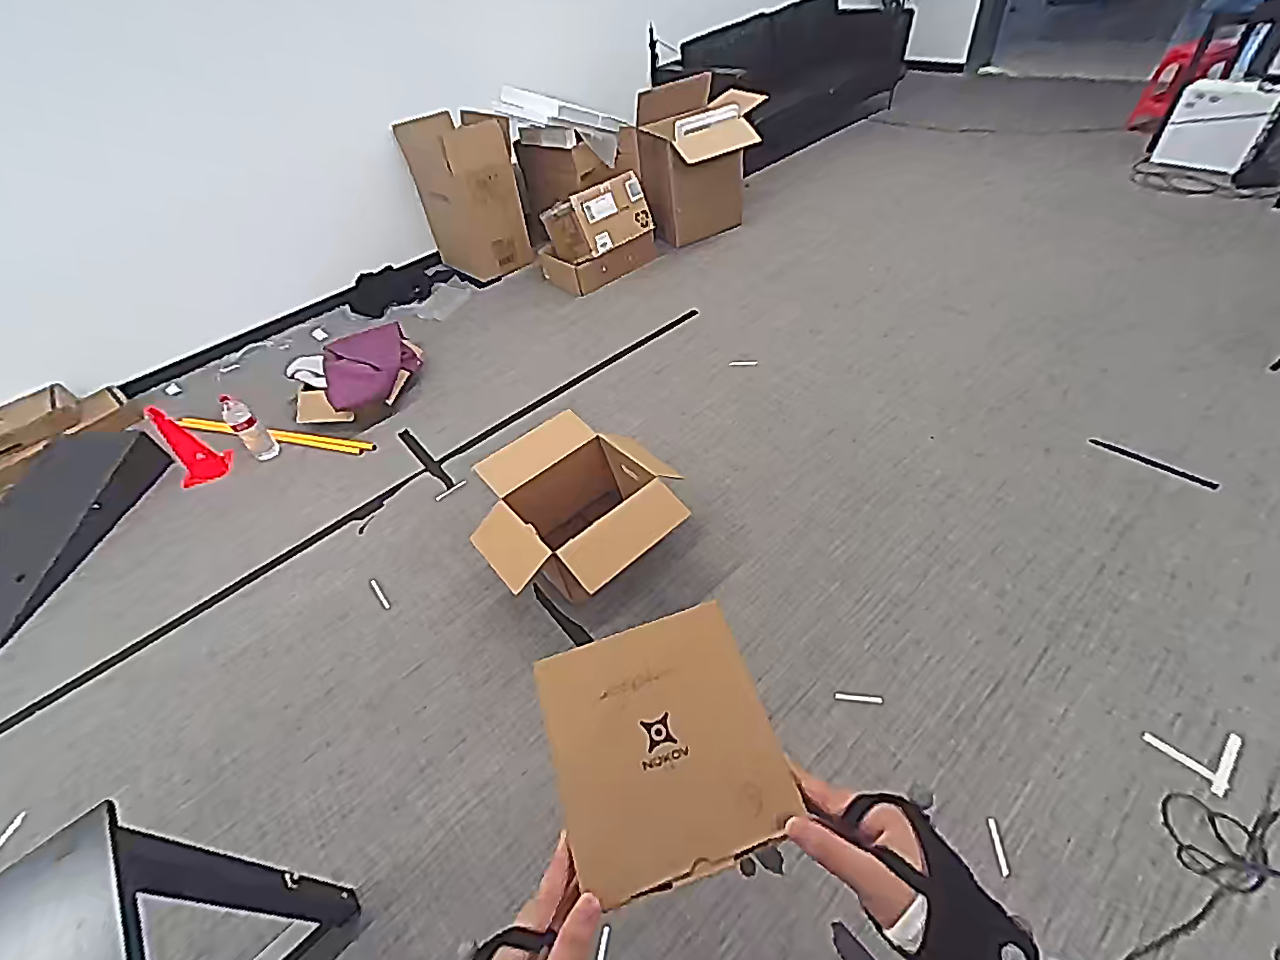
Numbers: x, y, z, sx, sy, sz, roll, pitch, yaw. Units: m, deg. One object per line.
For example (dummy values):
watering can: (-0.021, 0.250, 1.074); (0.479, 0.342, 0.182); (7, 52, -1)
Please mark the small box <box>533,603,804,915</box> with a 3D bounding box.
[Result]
small box: (0.019, 0.240, 0.475); (0.168, 0.176, 0.179); (-17, 56, -8)
